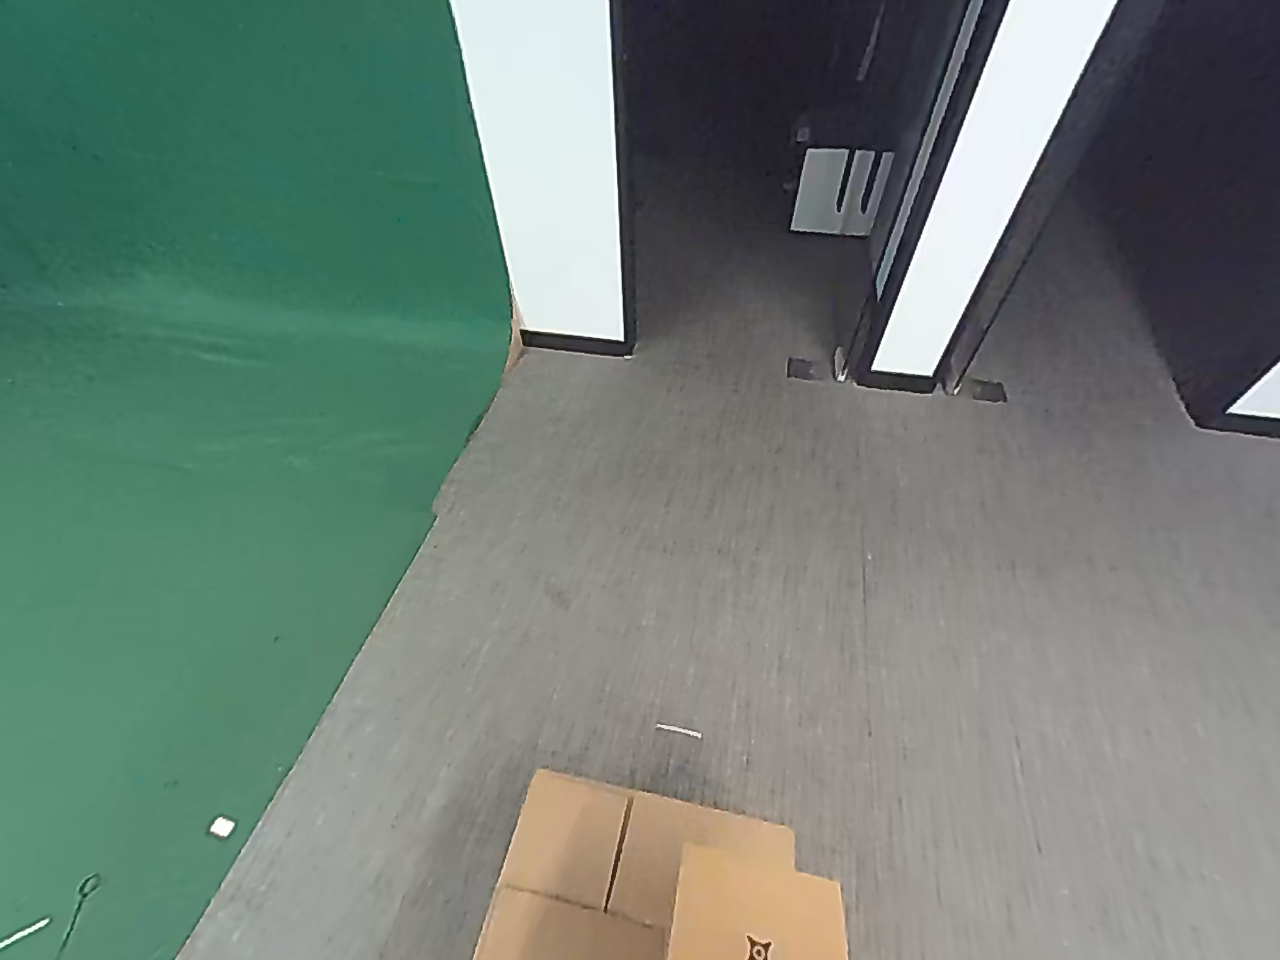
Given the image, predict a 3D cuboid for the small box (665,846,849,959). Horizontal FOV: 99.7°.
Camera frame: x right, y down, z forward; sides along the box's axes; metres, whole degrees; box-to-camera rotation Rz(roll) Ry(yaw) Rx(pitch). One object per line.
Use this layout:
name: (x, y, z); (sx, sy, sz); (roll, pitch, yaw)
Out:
small box: (0.104, 0.513, 0.527); (0.168, 0.176, 0.179); (9, 26, 9)
